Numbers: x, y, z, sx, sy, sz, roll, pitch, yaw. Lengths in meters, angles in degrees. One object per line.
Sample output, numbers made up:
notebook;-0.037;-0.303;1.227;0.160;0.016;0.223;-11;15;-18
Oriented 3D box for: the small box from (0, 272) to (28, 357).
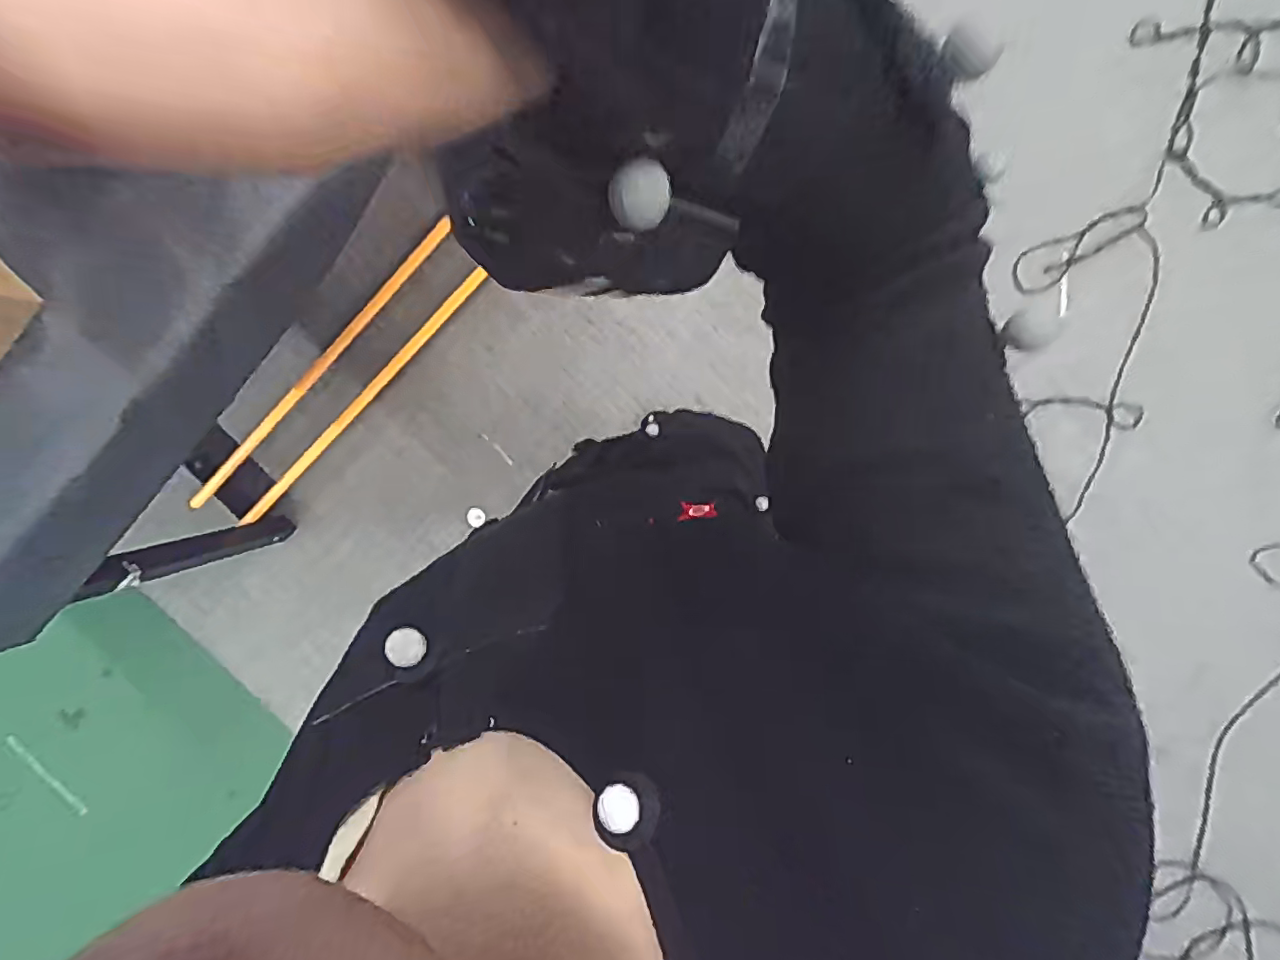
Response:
small box;-0.848;-0.202;0.586;0.168;0.176;0.179;44;97;0
